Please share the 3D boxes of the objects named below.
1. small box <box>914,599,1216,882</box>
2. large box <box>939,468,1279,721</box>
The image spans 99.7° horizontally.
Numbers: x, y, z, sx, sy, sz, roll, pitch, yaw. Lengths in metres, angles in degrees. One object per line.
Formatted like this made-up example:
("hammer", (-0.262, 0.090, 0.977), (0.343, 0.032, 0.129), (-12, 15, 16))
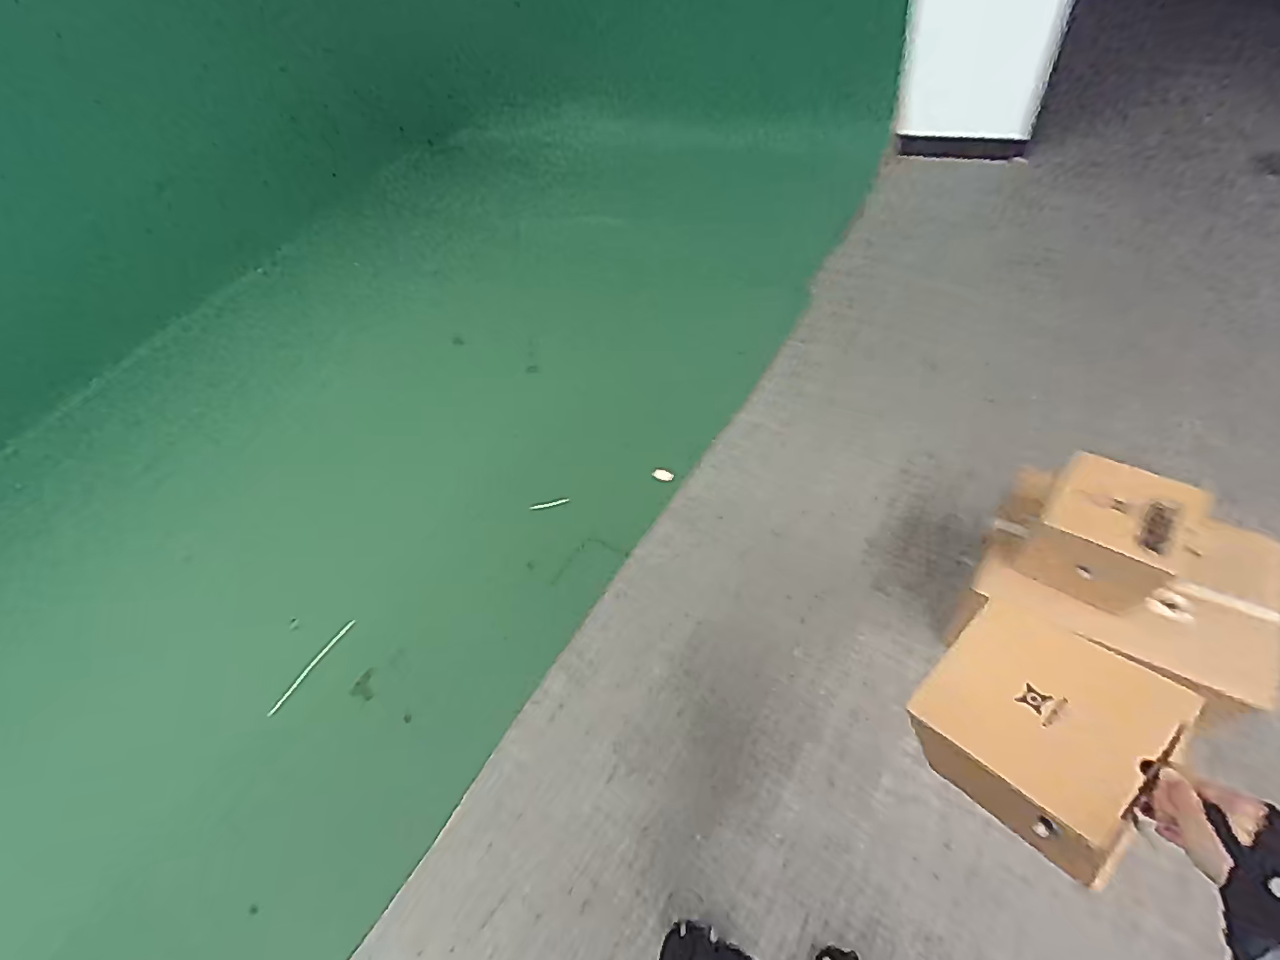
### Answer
("small box", (0.419, 0.264, 0.557), (0.168, 0.176, 0.179), (-43, 39, -12))
("large box", (0.878, 0.236, 1.068), (0.408, 0.320, 0.320), (23, 67, 27))
